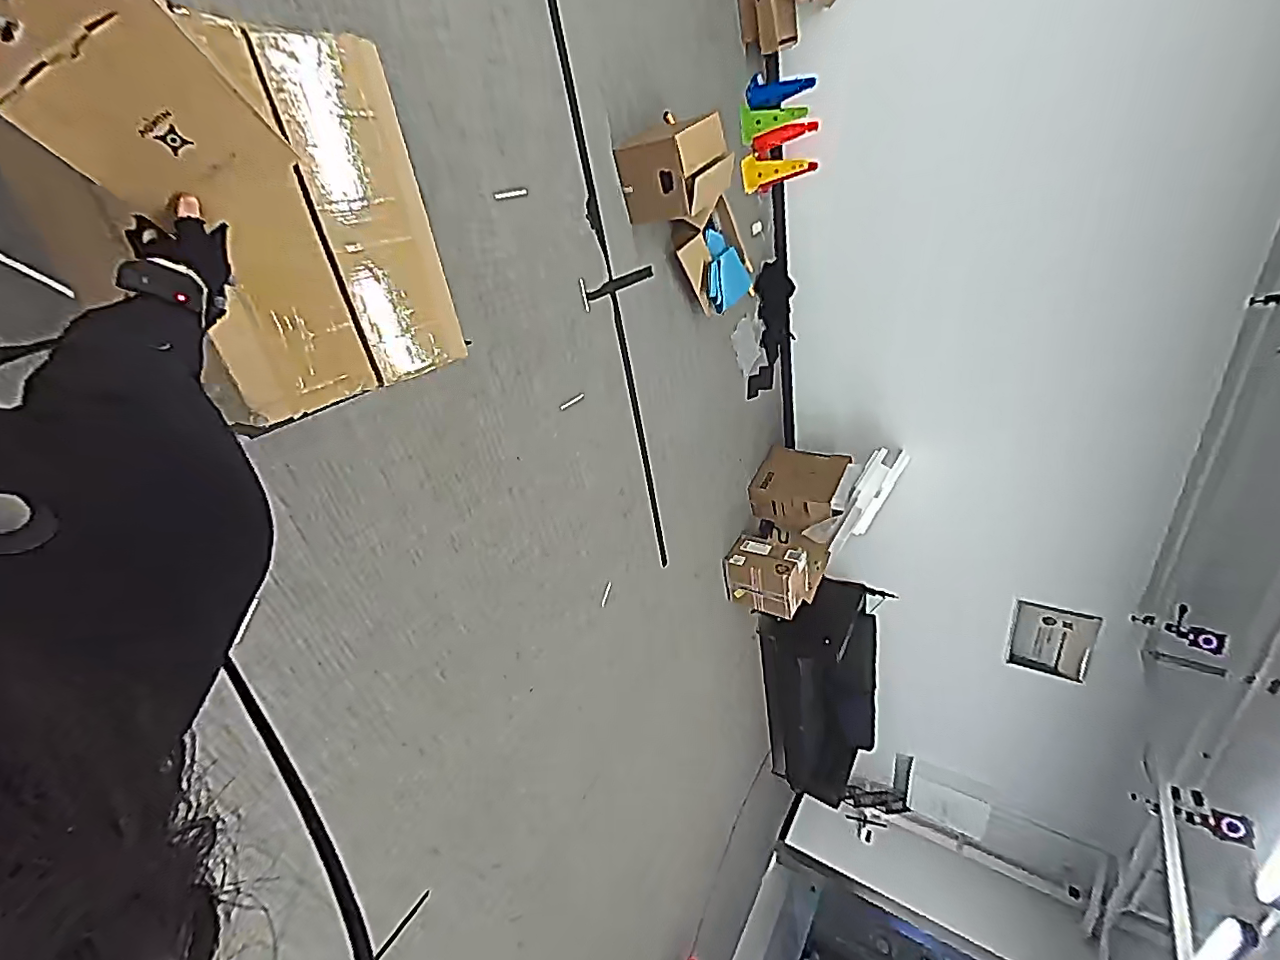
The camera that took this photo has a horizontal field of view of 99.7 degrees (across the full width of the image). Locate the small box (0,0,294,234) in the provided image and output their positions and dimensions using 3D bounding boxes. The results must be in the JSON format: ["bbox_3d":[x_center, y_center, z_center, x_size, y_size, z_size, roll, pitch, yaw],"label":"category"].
[{"bbox_3d":[-0.516,-0.405,0.552,0.168,0.176,0.179,-39,162,-2],"label":"small box"}]
